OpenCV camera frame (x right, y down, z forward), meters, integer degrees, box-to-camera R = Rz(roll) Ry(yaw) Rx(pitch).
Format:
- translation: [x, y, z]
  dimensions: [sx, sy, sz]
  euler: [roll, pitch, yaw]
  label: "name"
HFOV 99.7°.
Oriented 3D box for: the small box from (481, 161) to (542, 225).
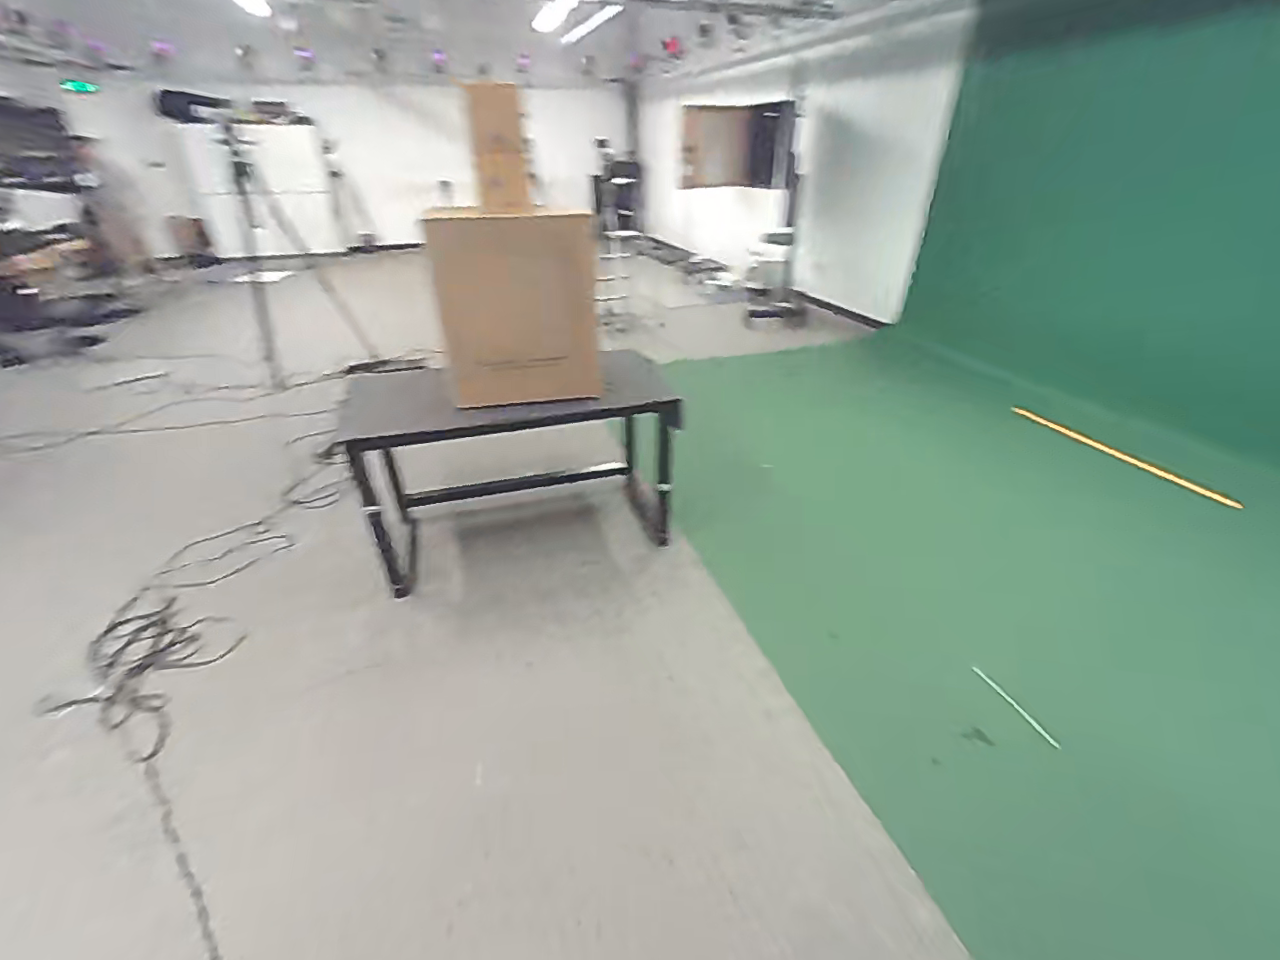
- translation: [-0.403, -0.912, 1.719]
  dimensions: [0.168, 0.176, 0.179]
  euler: [-5, 33, -8]
  label: "small box"
